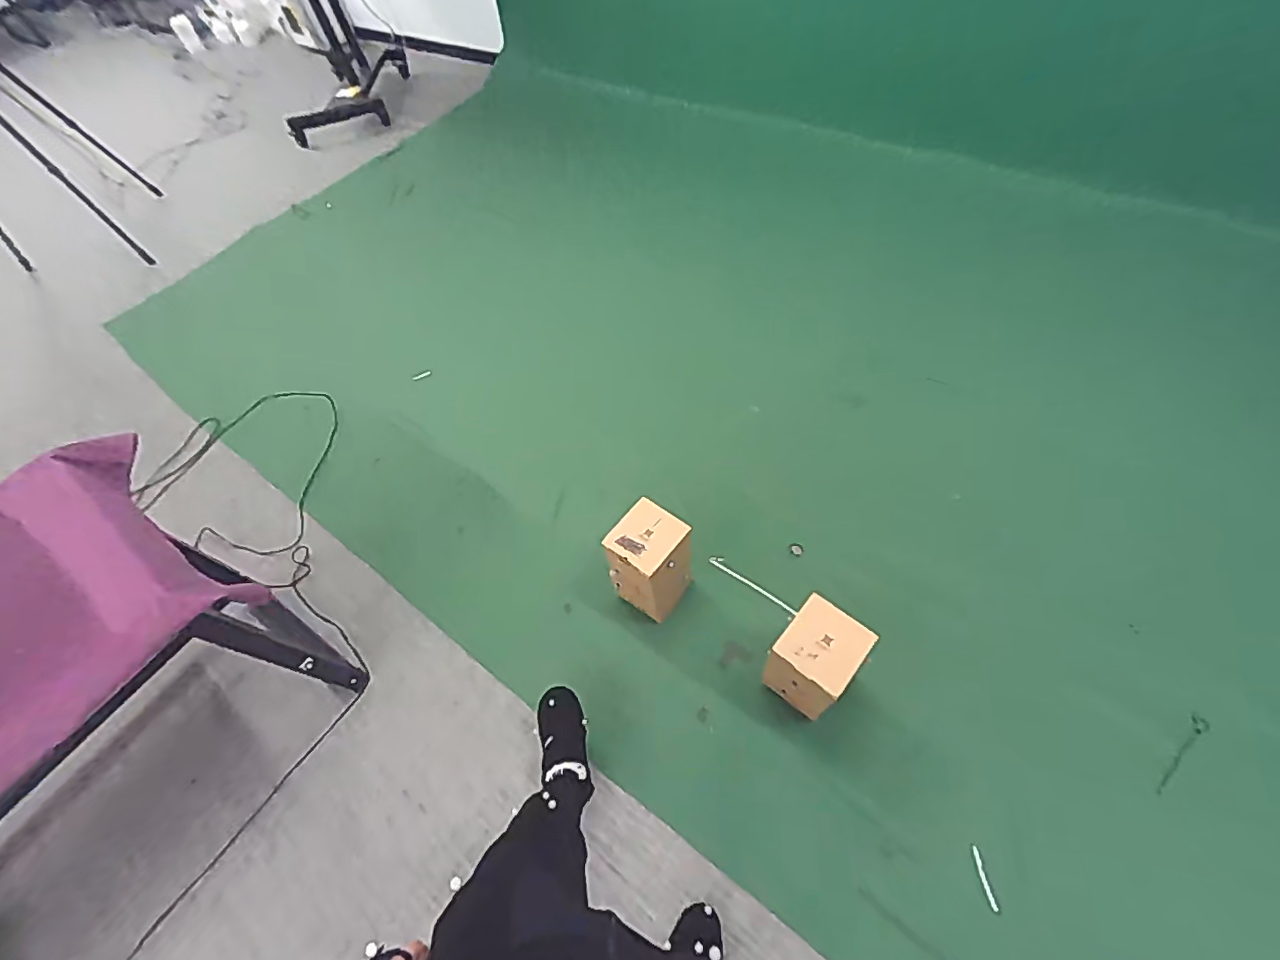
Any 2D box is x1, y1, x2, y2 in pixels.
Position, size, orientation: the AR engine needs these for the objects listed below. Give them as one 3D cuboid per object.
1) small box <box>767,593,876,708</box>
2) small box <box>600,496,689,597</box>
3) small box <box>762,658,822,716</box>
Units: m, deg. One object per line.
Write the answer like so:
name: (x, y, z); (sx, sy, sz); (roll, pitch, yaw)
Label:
small box: (0.412, 0.401, 1.261); (0.168, 0.176, 0.179); (36, 69, 25)
small box: (0.020, 0.182, 1.448); (0.168, 0.176, 0.179); (33, 66, 25)
small box: (0.430, 0.481, 1.403); (0.168, 0.176, 0.179); (34, 69, 24)
